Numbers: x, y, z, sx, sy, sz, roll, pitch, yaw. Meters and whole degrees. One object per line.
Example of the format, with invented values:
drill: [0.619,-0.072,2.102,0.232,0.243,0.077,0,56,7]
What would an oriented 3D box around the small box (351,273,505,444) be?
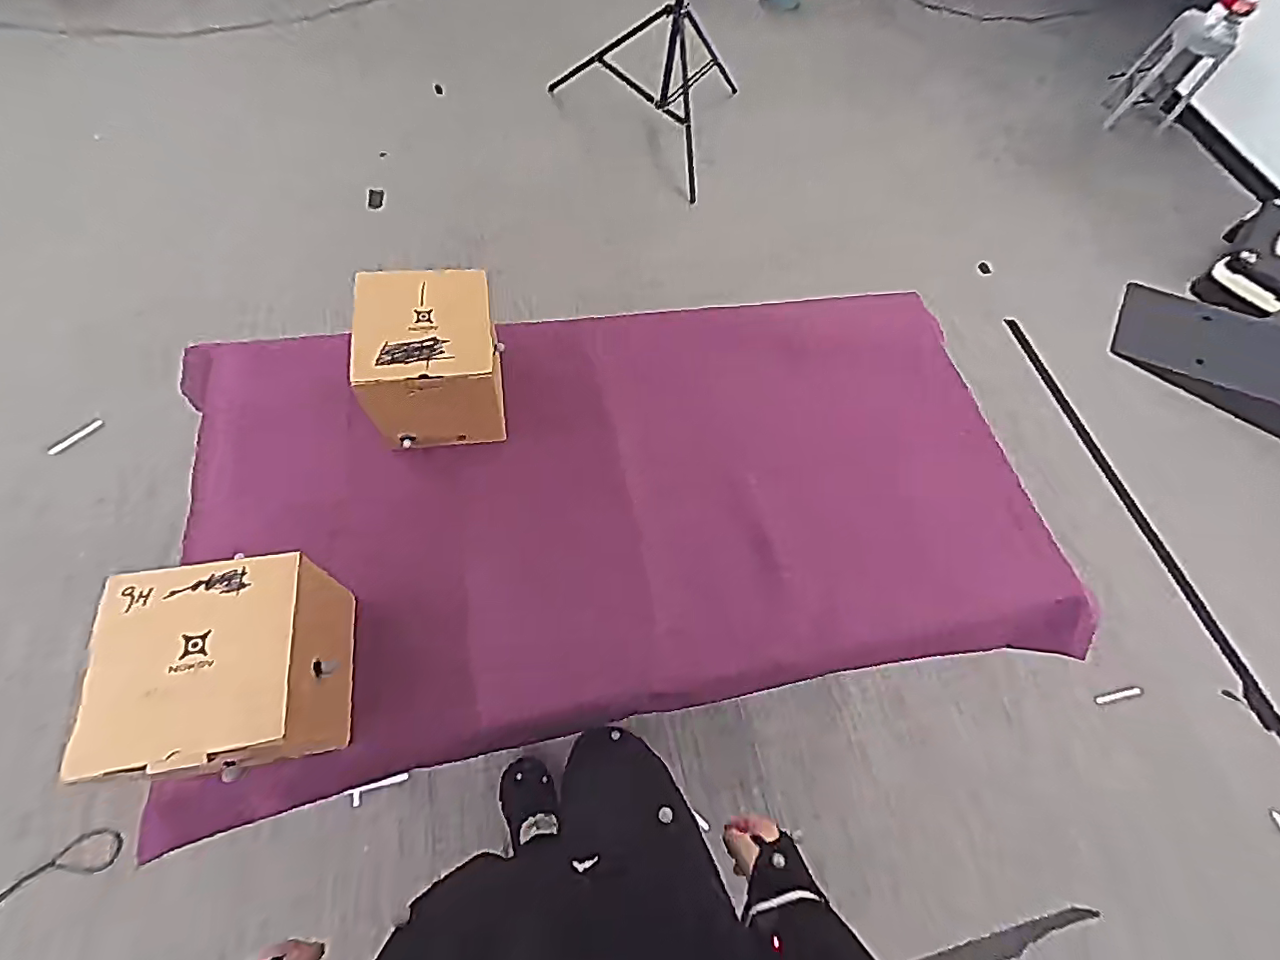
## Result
small box: [-0.284,-0.160,0.755,0.168,0.176,0.179,-6,65,-11]

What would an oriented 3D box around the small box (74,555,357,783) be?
small box: [-0.408,0.195,0.560,0.168,0.176,0.179,-7,65,-12]
